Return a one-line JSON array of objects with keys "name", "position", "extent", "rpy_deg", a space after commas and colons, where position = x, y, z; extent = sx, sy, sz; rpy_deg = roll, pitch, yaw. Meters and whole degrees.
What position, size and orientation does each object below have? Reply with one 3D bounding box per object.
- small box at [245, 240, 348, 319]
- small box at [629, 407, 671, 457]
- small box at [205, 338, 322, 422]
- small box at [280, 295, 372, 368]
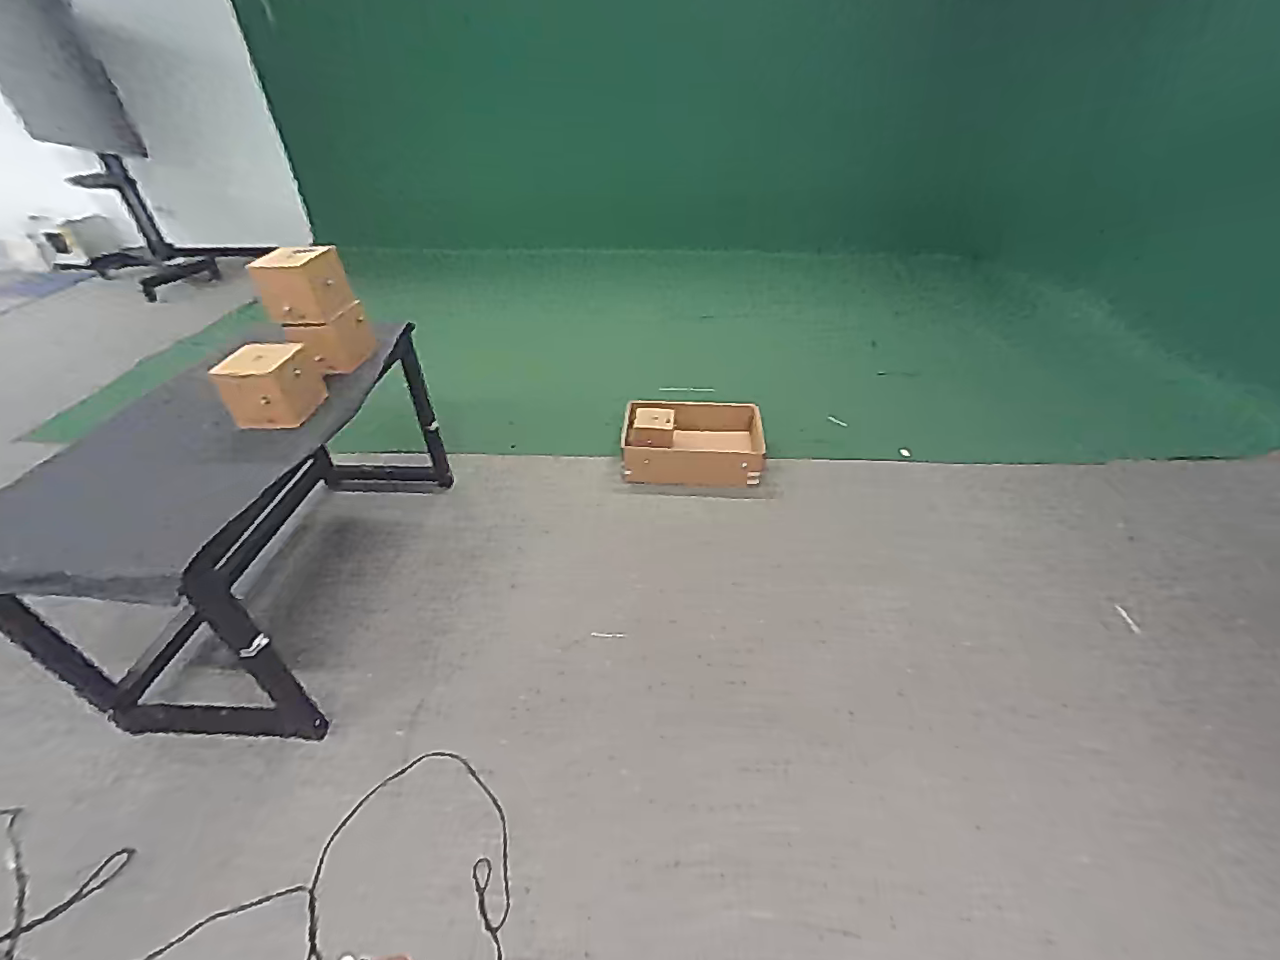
[{"name": "small box", "position": [-0.985, -0.586, 1.574], "extent": [0.168, 0.176, 0.179], "rpy_deg": [3, 41, 6]}, {"name": "small box", "position": [0.048, -0.220, 2.476], "extent": [0.179, 0.176, 0.168], "rpy_deg": [3, 40, 4]}, {"name": "small box", "position": [-0.991, -0.266, 1.445], "extent": [0.168, 0.176, 0.179], "rpy_deg": [1, 38, 2]}, {"name": "small box", "position": [-0.969, -0.468, 1.687], "extent": [0.168, 0.176, 0.179], "rpy_deg": [3, 40, 7]}]
